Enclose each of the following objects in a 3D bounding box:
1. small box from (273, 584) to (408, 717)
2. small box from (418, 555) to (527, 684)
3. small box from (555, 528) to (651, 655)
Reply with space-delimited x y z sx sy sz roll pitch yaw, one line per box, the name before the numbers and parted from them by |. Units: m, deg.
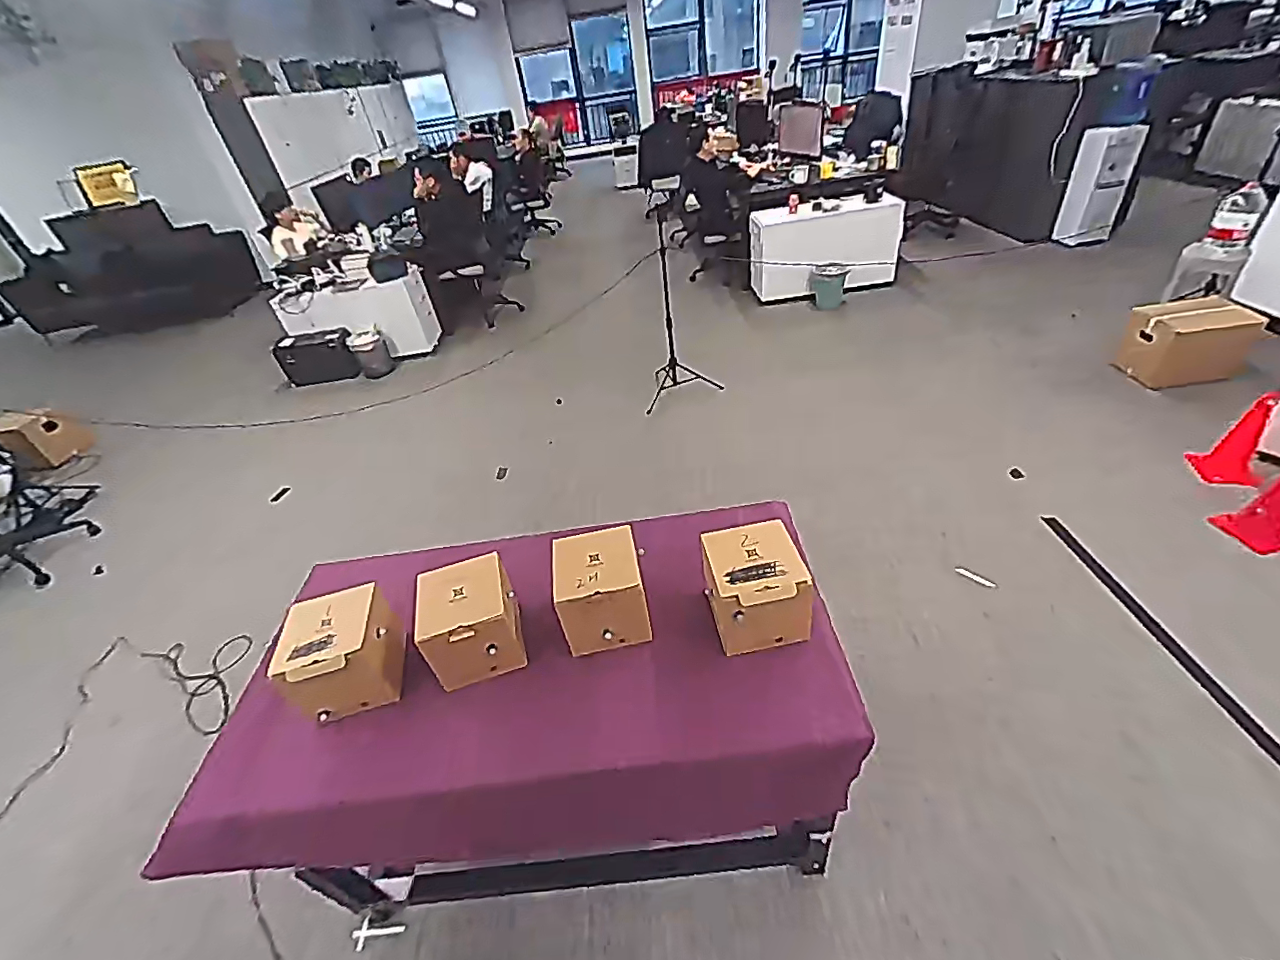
small box | -0.578 0.343 1.073 0.168 0.176 0.179 -15 37 -7
small box | -0.334 0.287 1.095 0.168 0.176 0.179 -15 37 -8
small box | -0.076 0.228 1.111 0.168 0.176 0.179 -11 38 -1
